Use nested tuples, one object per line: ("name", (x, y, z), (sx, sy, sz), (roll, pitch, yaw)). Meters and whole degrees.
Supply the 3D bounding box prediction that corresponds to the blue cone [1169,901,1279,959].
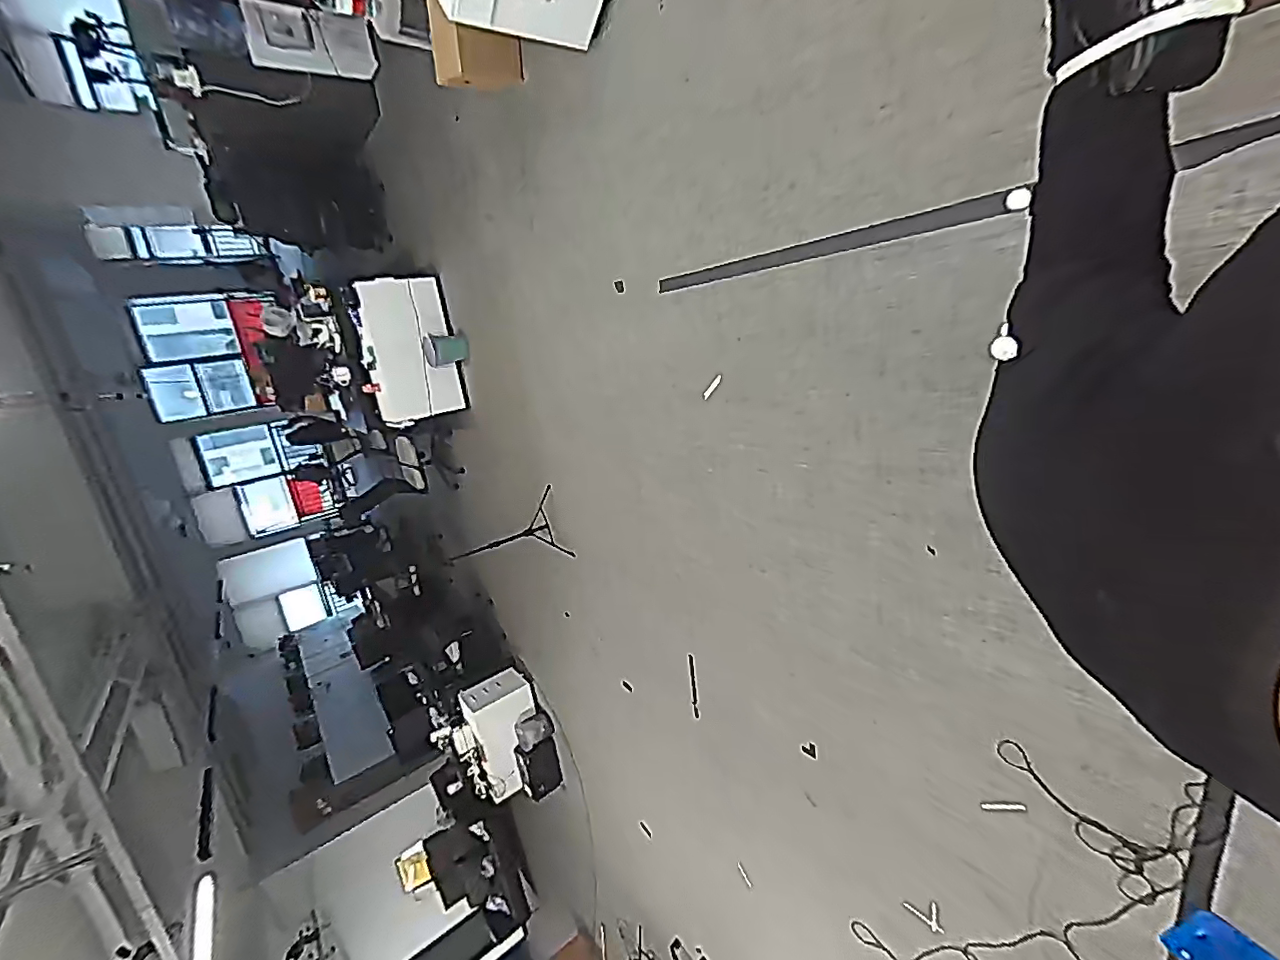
("blue cone", (1.295, 1.174, 1.203), (0.193, 0.380, 0.192), (37, 134, 39))
